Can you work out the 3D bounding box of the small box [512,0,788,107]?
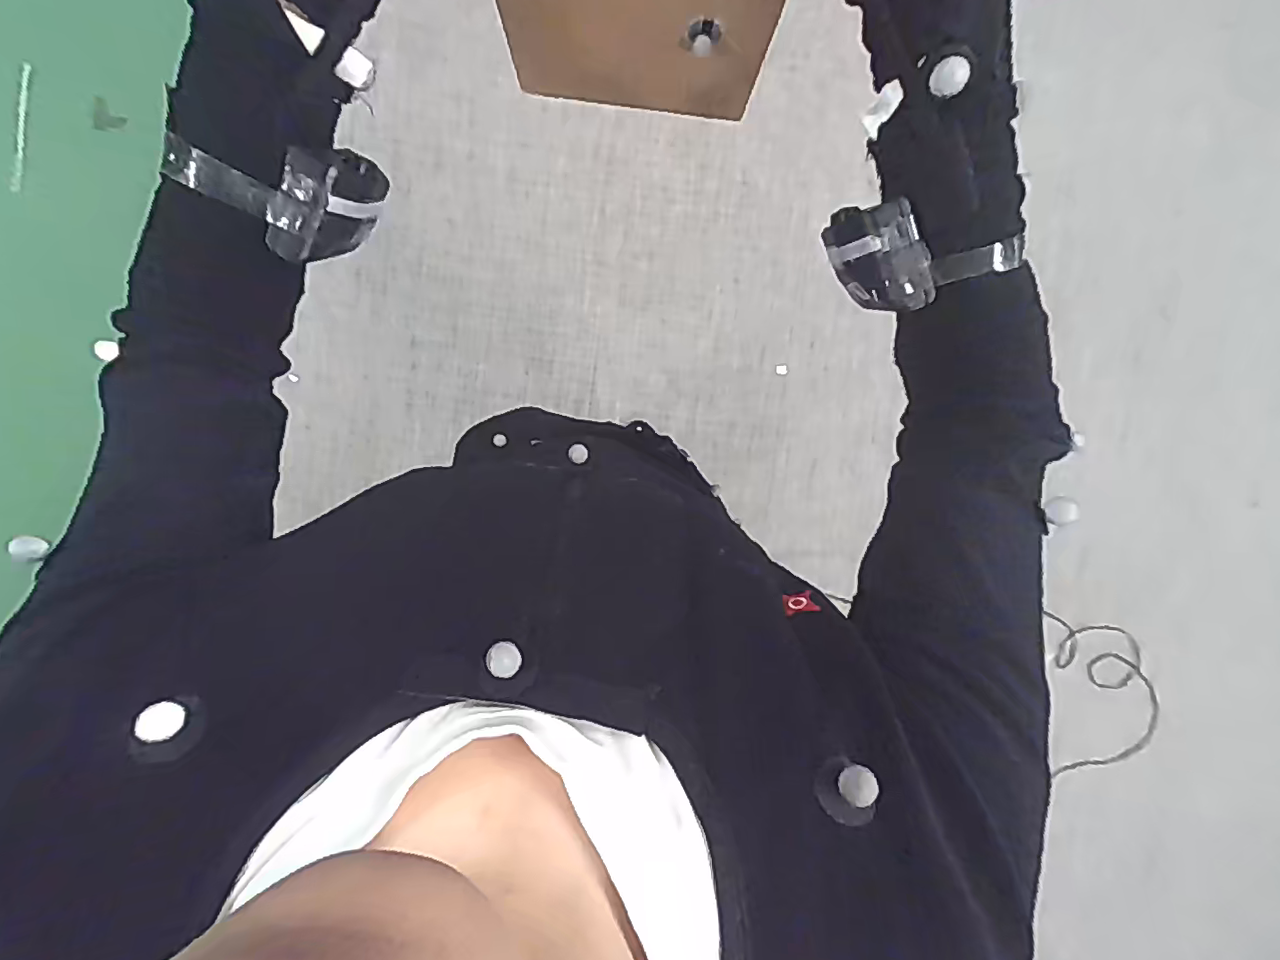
[{"bbox_3d":[0.012,-0.370,0.336,0.179,0.176,0.168,5,93,-2],"label":"small box"}]
